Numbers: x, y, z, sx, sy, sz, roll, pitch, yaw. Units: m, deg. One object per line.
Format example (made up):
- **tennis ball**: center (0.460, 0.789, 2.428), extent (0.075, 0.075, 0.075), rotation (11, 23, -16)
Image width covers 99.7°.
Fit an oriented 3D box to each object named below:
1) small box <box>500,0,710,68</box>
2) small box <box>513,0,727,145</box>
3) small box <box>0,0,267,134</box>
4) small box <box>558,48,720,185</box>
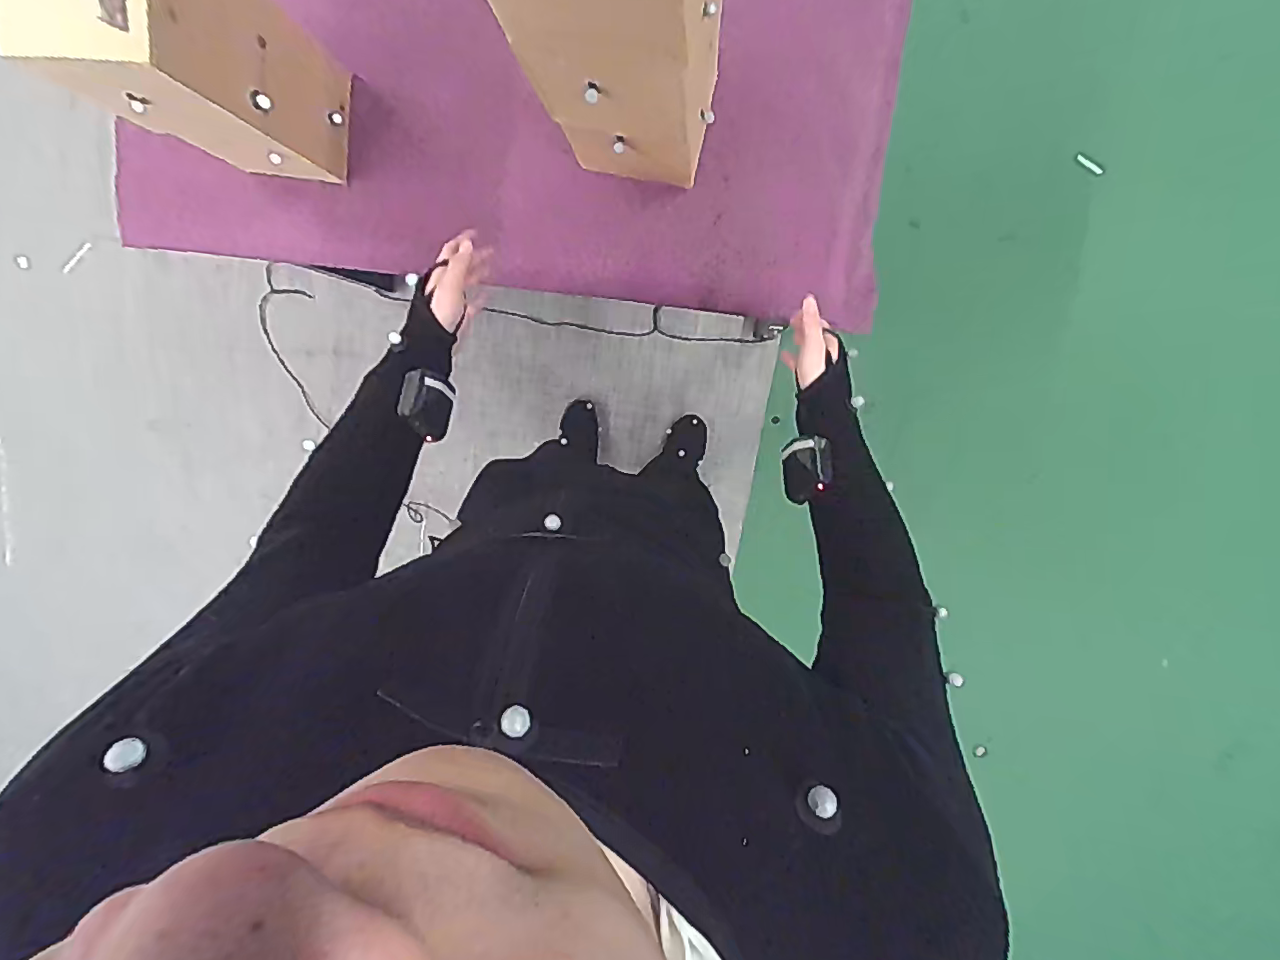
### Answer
- **small box**: center (-0.021, -0.454, 0.406), extent (0.179, 0.176, 0.168), rotation (14, 100, 4)
- **small box**: center (-0.010, -0.484, 0.568), extent (0.179, 0.176, 0.168), rotation (14, 101, 4)
- **small box**: center (-0.556, -0.517, 0.608), extent (0.179, 0.176, 0.168), rotation (6, 99, 4)
- **small box**: center (0.007, -0.521, 0.727), extent (0.179, 0.176, 0.168), rotation (13, 100, 4)
